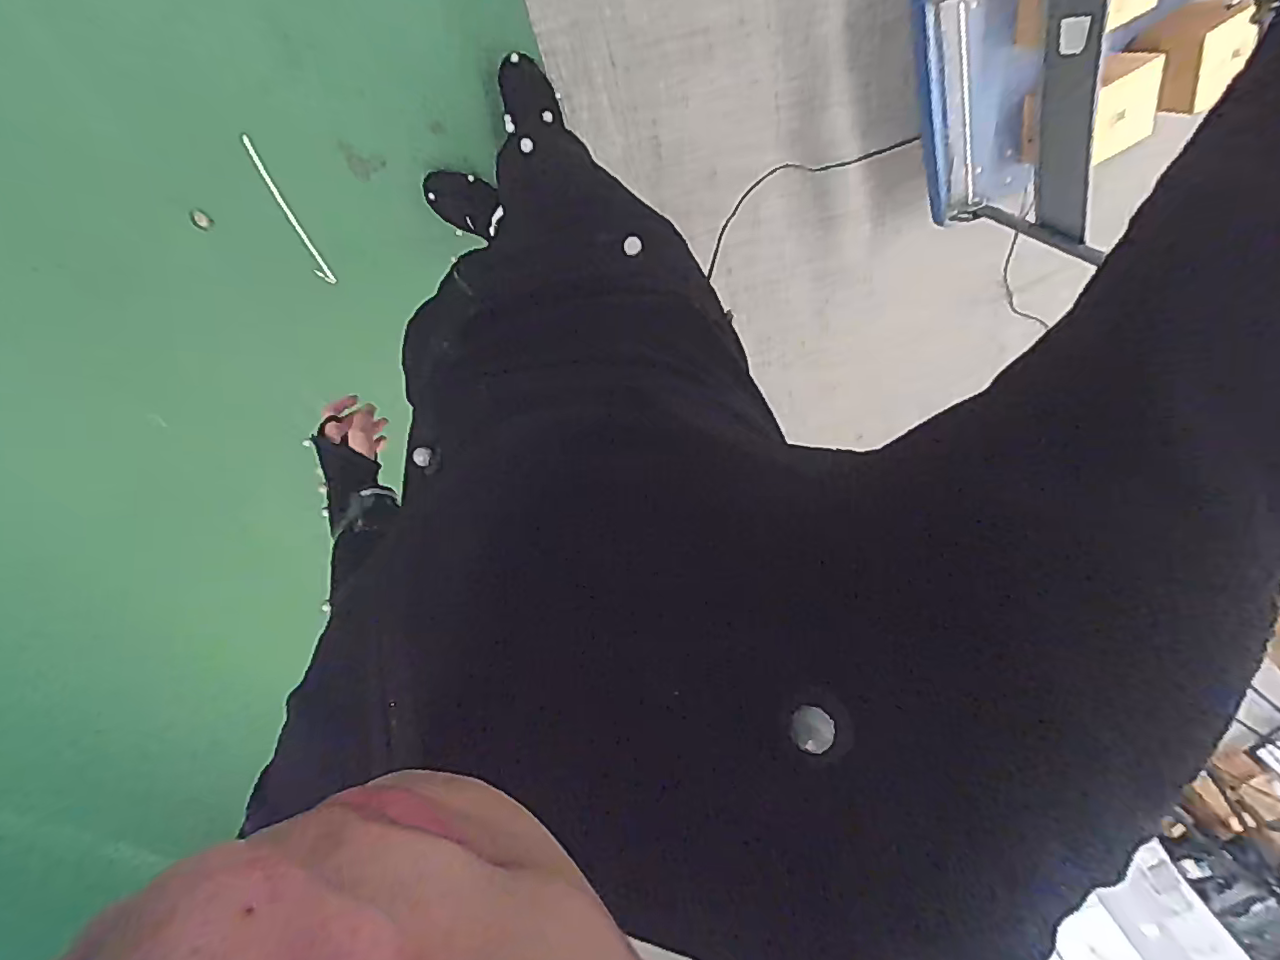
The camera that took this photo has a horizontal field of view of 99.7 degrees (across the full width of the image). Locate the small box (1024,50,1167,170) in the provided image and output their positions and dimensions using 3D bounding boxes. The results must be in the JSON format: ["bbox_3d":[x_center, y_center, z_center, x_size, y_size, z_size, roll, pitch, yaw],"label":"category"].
[{"bbox_3d":[1.027,-0.850,1.237,0.179,0.176,0.168,-28,131,8],"label":"small box"}]

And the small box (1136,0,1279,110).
[{"bbox_3d":[1.260,-0.969,1.205,0.179,0.176,0.168,-30,130,10],"label":"small box"}]
